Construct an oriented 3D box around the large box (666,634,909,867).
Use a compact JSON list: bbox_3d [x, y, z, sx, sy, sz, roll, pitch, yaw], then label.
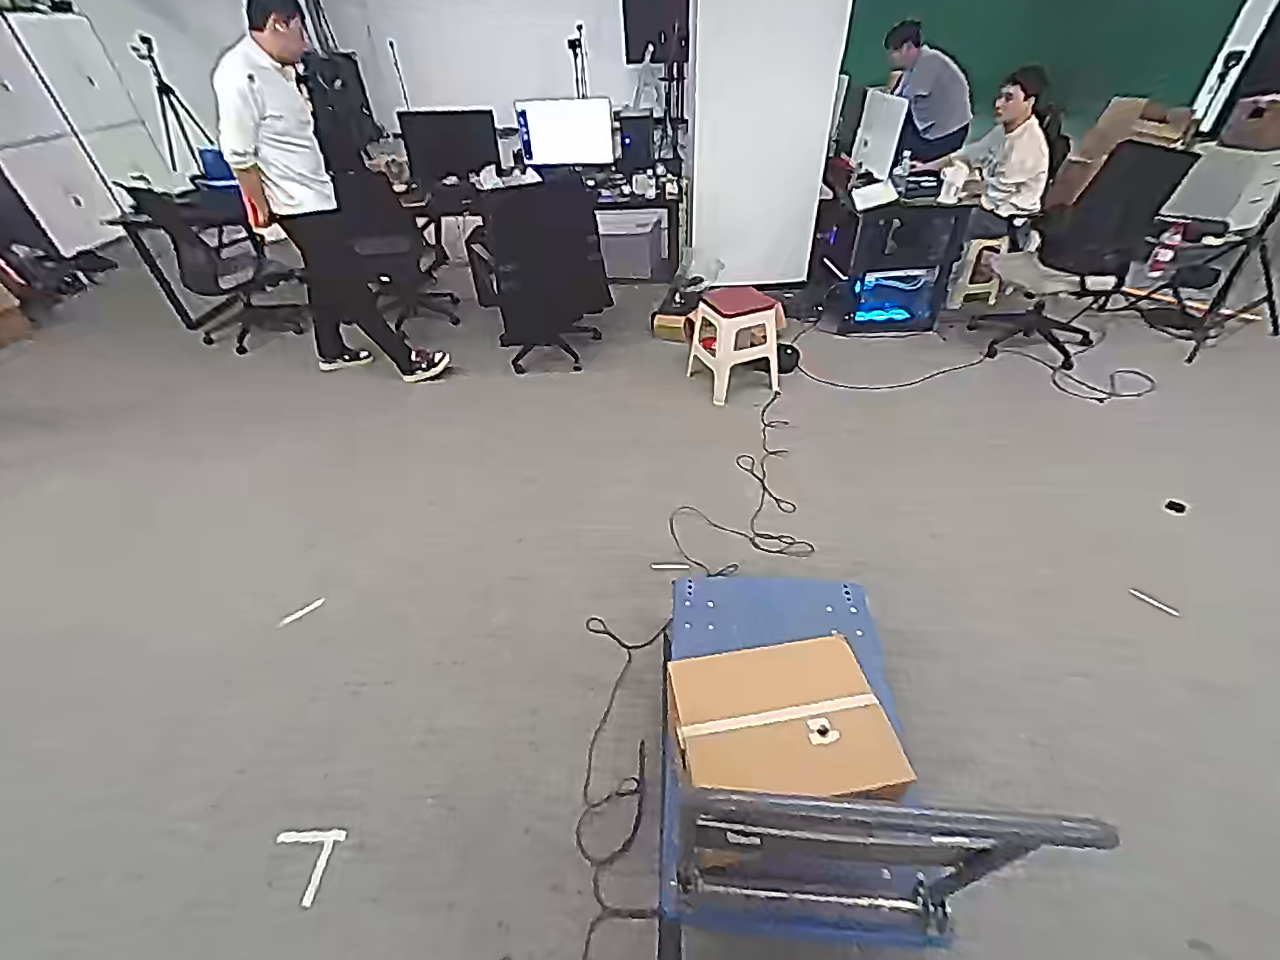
[{"bbox_3d":[0.282,0.584,1.180,0.408,0.320,0.320,-7,41,-6],"label":"large box"}]
